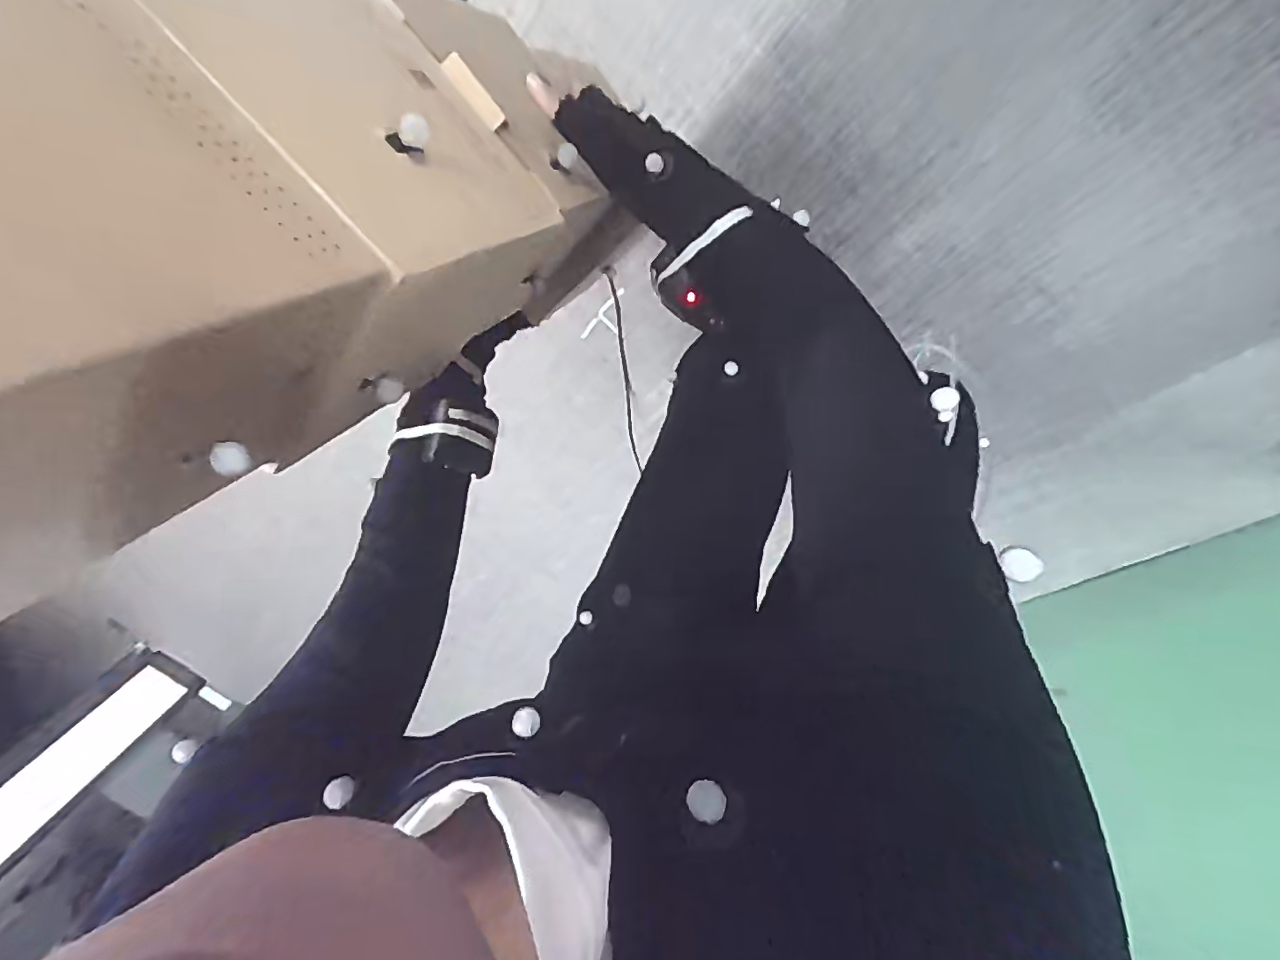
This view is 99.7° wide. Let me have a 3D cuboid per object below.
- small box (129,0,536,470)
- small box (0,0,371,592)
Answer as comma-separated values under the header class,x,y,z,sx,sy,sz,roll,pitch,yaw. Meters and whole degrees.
class,x,y,z,sx,sy,sz,roll,pitch,yaw
small box,-0.184,-0.144,0.308,0.179,0.176,0.168,-32,107,33
small box,-0.235,-0.066,0.172,0.168,0.176,0.179,-31,108,33
